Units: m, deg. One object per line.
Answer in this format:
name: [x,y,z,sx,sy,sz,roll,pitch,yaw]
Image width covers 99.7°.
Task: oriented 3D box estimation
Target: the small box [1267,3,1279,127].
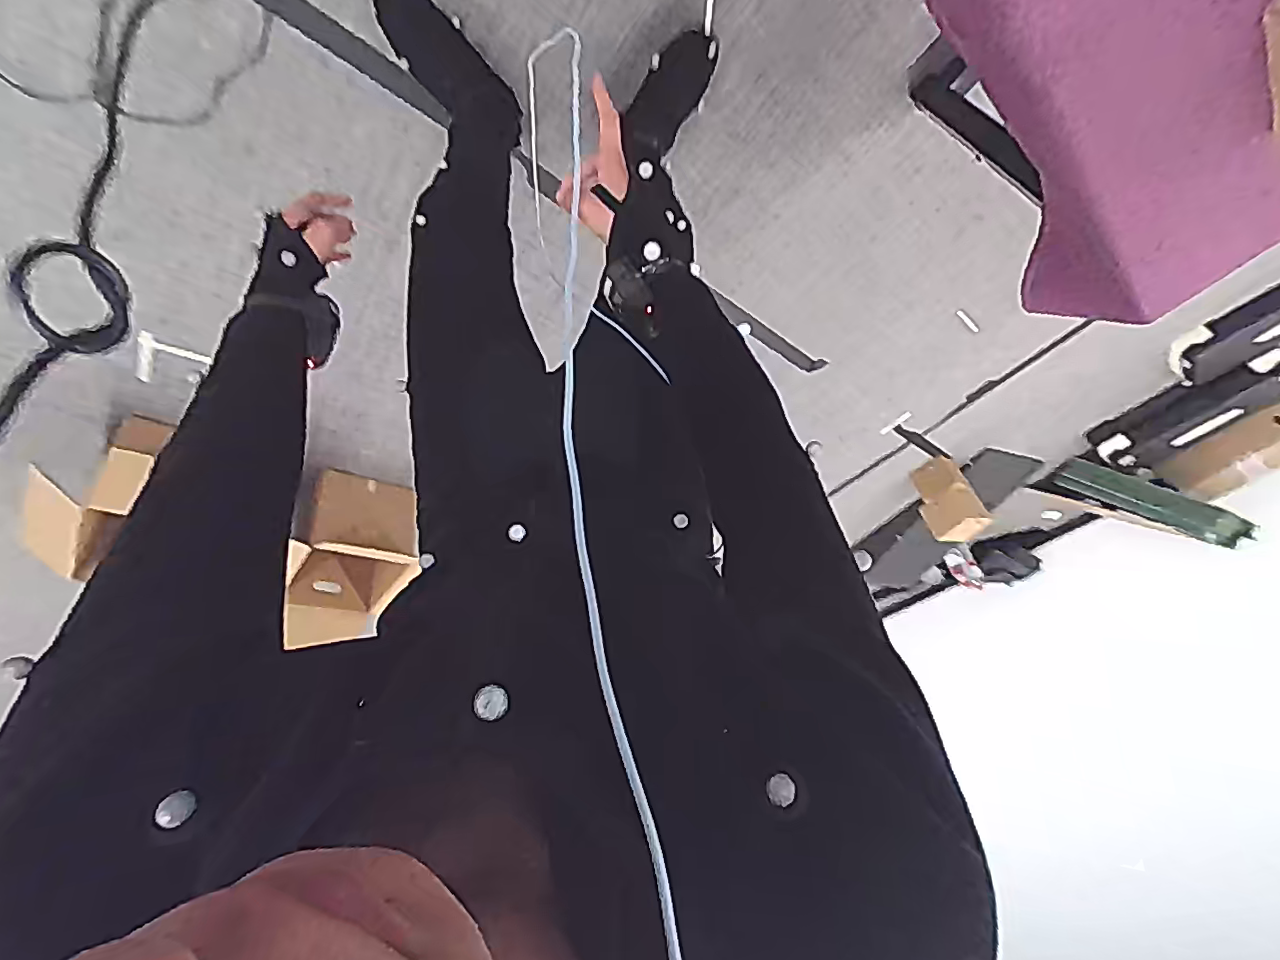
small box: [0.677,-0.374,0.436,0.179,0.176,0.168,18,134,-37]
